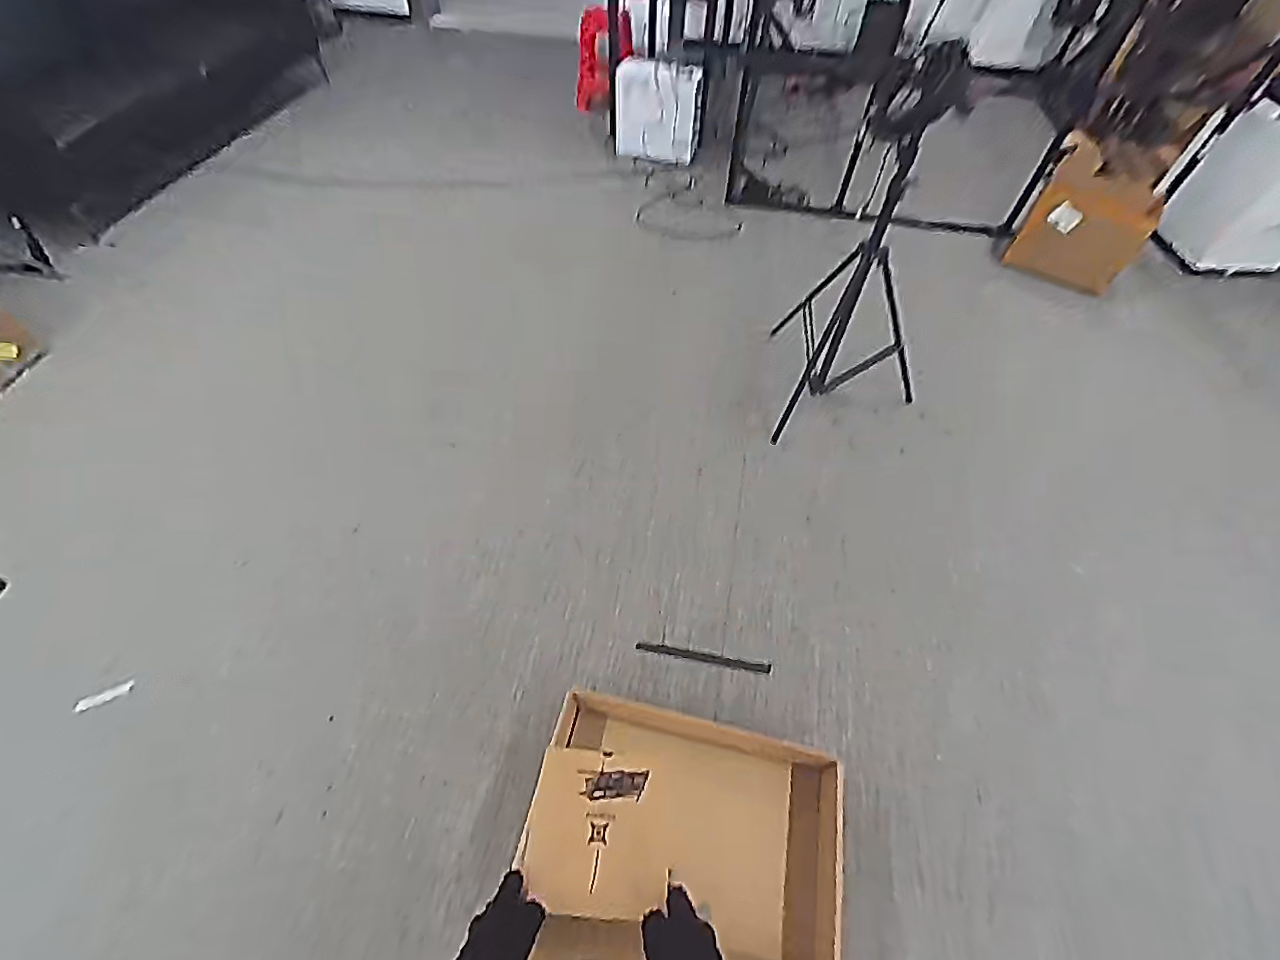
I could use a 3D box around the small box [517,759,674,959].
[{"bbox_3d":[-0.046,0.484,0.672,0.168,0.176,0.179,3,30,3],"label":"small box"}]
